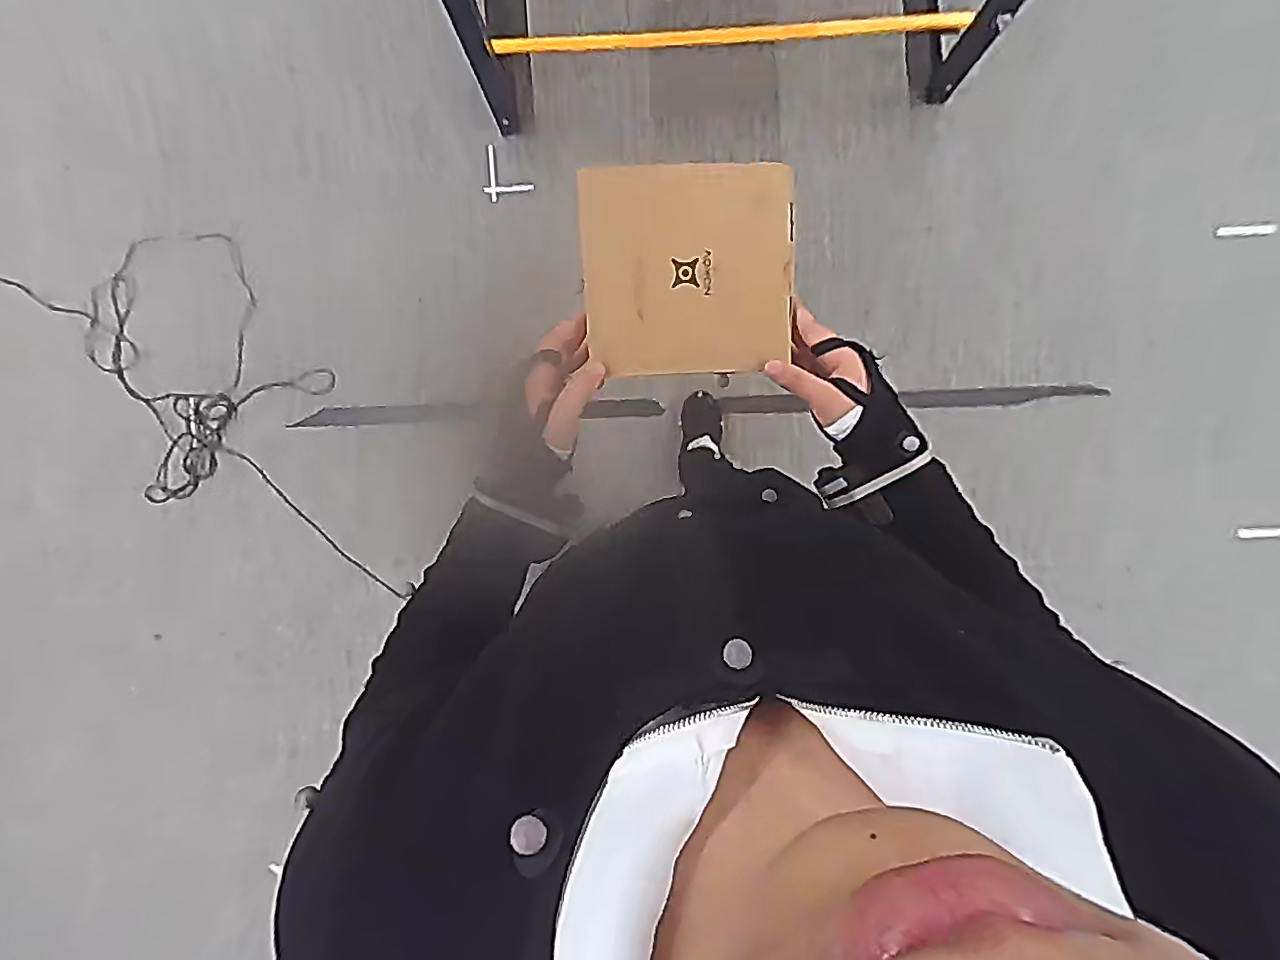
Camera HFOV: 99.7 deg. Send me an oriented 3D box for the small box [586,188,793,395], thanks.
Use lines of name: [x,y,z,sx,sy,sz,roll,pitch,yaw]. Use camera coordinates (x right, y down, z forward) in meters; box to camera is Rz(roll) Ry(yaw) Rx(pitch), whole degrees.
small box: [0.040,-0.176,0.542,0.179,0.176,0.168,-4,100,-2]
